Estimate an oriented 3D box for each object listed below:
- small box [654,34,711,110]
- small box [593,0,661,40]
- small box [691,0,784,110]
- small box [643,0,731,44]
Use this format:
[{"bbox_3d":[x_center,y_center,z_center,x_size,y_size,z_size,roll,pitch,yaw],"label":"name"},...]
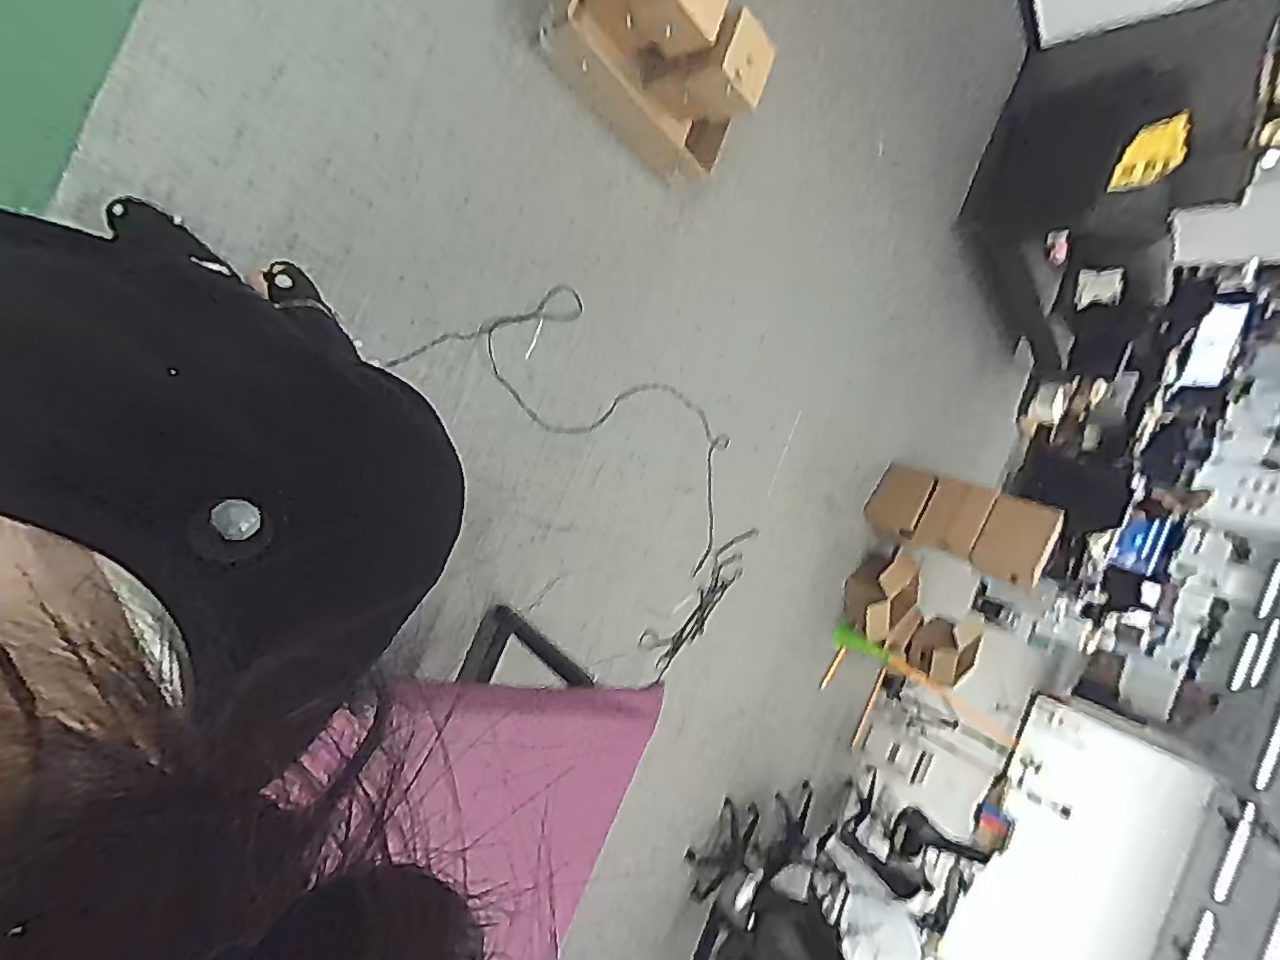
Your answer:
[{"bbox_3d":[0.169,-1.258,1.631,0.179,0.176,0.168,12,98,-43],"label":"small box"},{"bbox_3d":[-0.006,-1.334,1.448,0.179,0.176,0.168,16,96,-46],"label":"small box"},{"bbox_3d":[0.269,-1.191,1.517,0.168,0.176,0.179,18,93,-42],"label":"small box"},{"bbox_3d":[0.125,-1.260,1.367,0.168,0.176,0.179,14,98,-46],"label":"small box"}]
